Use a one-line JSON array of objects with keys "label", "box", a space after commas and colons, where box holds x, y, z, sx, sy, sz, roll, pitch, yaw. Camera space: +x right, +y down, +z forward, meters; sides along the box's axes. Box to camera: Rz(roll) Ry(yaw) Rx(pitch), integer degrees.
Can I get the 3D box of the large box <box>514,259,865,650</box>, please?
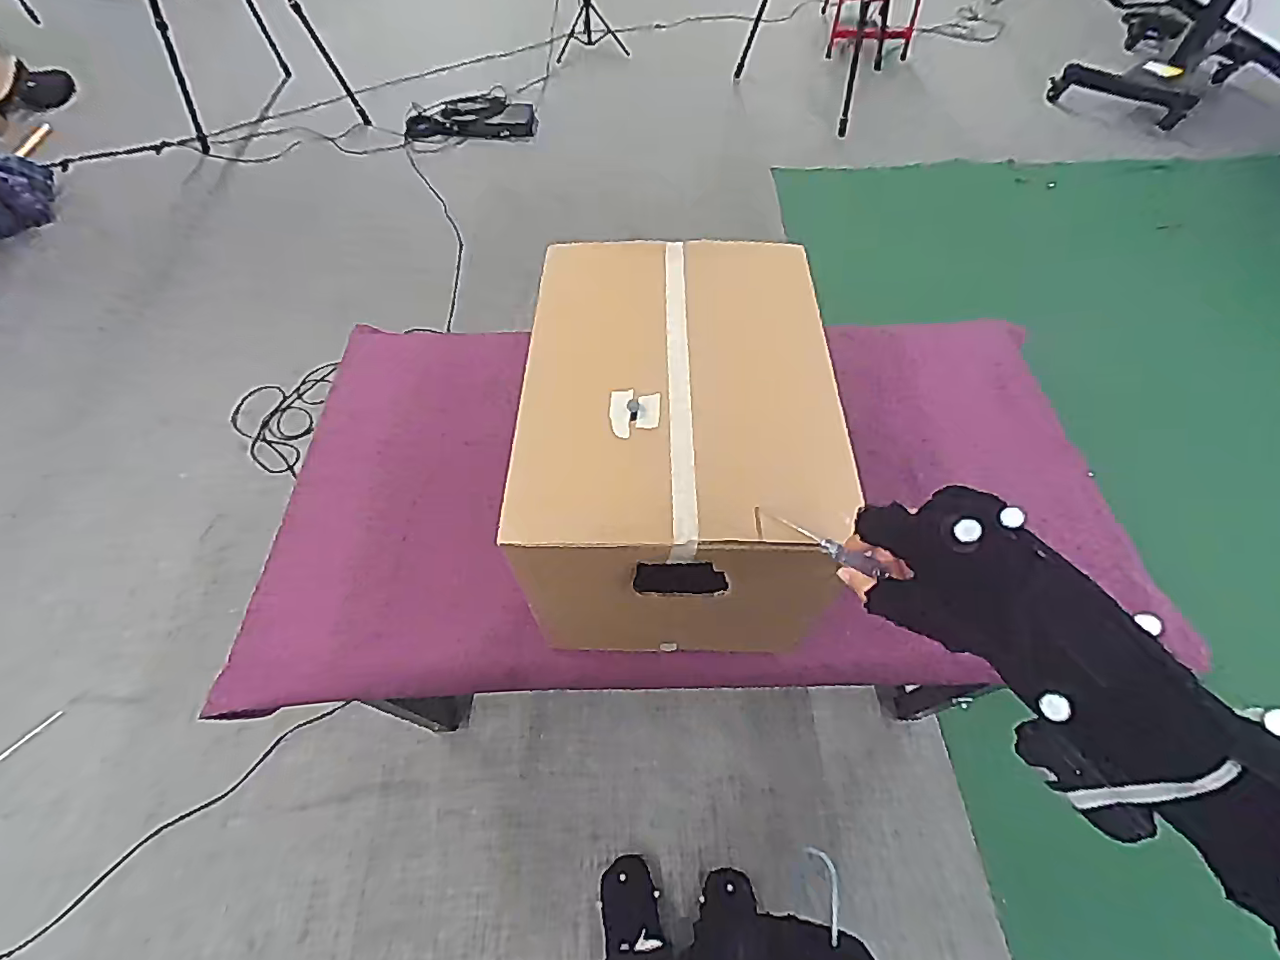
[{"label": "large box", "box": [0.041, -0.024, 0.695, 0.320, 0.320, 0.408, 1, 58, 1]}]
